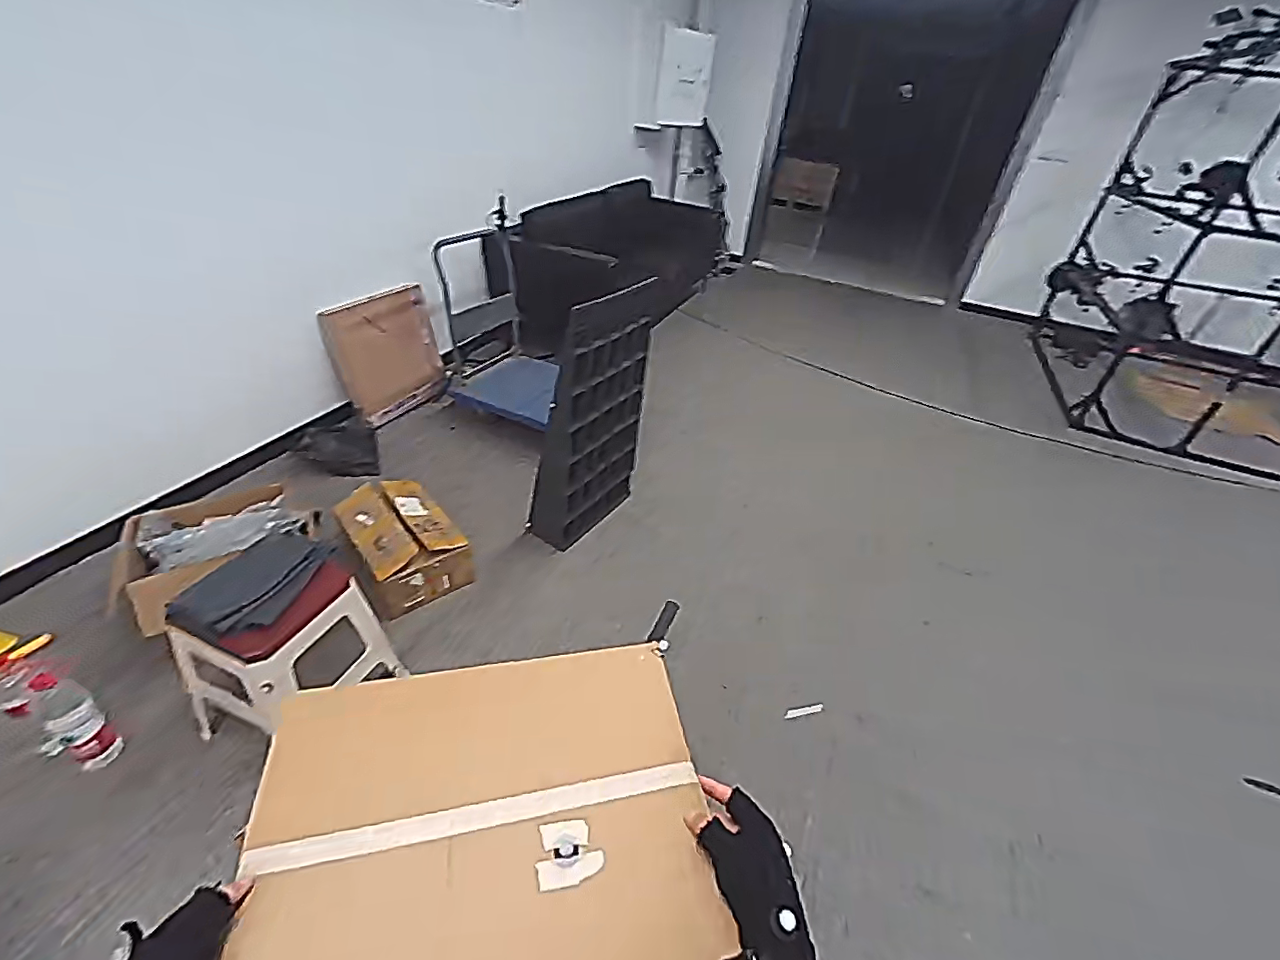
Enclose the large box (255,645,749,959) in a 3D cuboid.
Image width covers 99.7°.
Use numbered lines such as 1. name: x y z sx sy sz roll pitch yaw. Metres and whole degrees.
1. large box: -0.146 0.430 0.620 0.408 0.320 0.320 -2 42 -14
